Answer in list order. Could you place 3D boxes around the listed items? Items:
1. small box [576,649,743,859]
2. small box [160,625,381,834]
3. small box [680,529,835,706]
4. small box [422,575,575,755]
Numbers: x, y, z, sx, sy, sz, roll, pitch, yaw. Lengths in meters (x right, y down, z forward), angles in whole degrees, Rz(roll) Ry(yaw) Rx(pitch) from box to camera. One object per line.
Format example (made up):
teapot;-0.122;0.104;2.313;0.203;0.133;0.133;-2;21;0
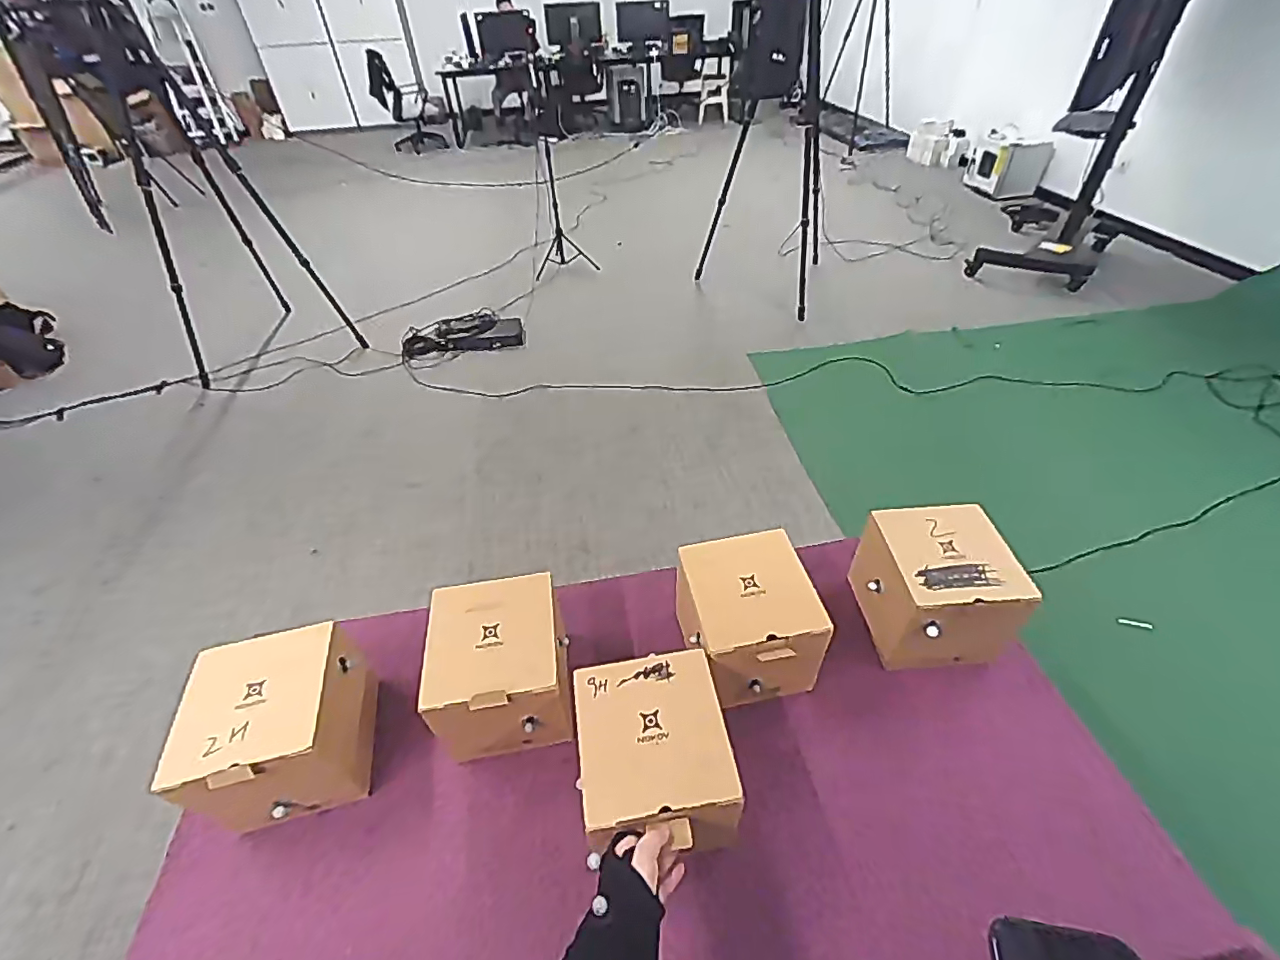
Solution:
small box;0.019;0.337;0.659;0.168;0.176;0.179;-8;44;-5
small box;-0.456;0.325;0.707;0.168;0.176;0.179;-13;44;-9
small box;0.156;0.200;0.793;0.168;0.176;0.179;-10;45;-6
small box;-0.186;0.262;0.755;0.168;0.176;0.179;-8;43;-5
